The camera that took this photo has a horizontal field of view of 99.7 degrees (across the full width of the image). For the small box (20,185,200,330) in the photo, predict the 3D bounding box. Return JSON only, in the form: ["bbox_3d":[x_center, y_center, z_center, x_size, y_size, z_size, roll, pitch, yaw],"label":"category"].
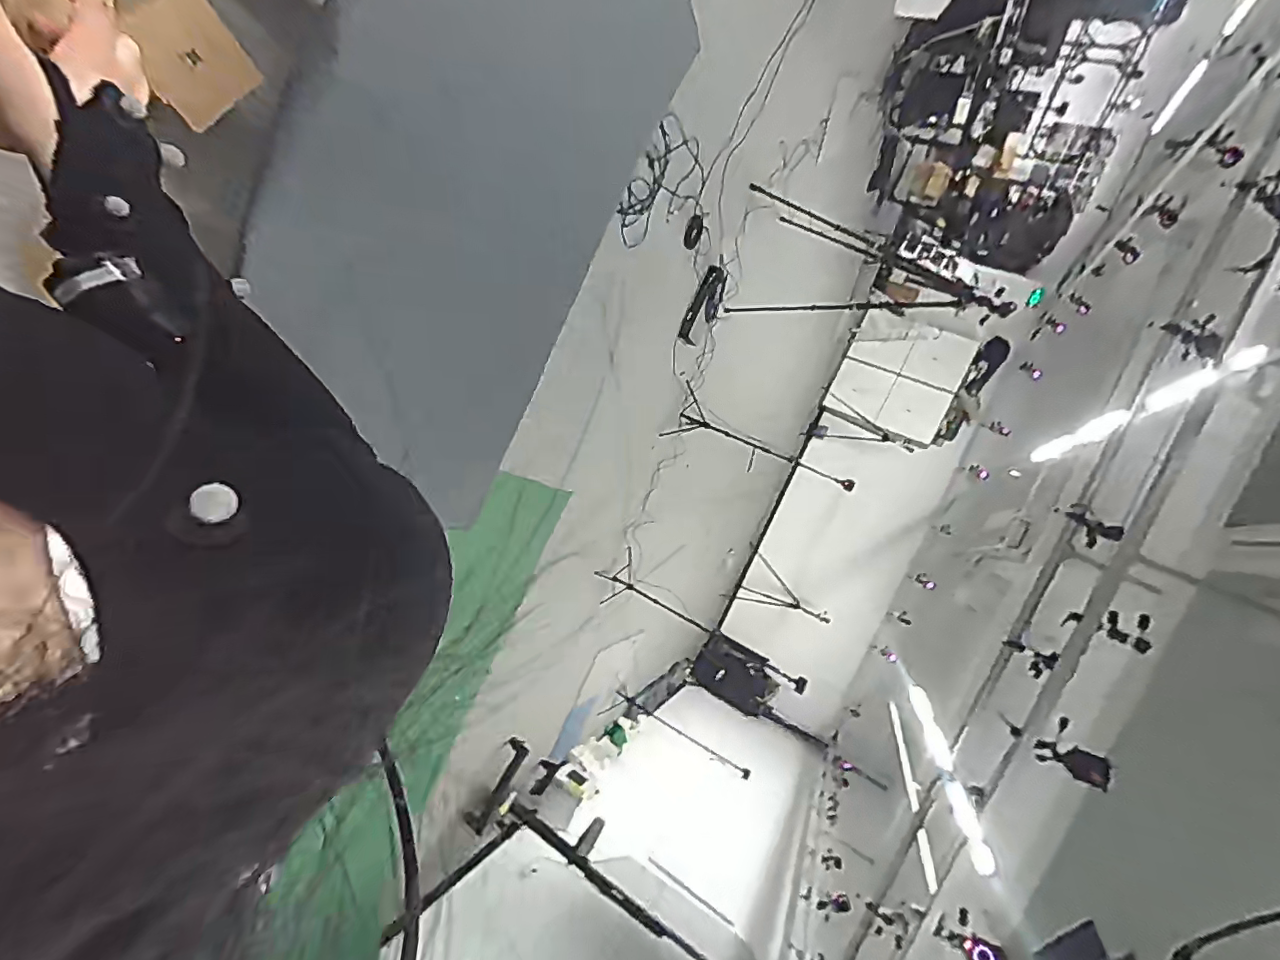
[{"bbox_3d":[-0.999,-0.419,1.020,0.179,0.176,0.168,-62,158,-1],"label":"small box"}]

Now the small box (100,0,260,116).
[{"bbox_3d":[-0.843,-0.790,0.958,0.179,0.176,0.168,-59,159,-15],"label":"small box"}]

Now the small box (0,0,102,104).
[{"bbox_3d":[-0.483,-0.358,0.334,0.179,0.176,0.168,10,118,-31],"label":"small box"}]
